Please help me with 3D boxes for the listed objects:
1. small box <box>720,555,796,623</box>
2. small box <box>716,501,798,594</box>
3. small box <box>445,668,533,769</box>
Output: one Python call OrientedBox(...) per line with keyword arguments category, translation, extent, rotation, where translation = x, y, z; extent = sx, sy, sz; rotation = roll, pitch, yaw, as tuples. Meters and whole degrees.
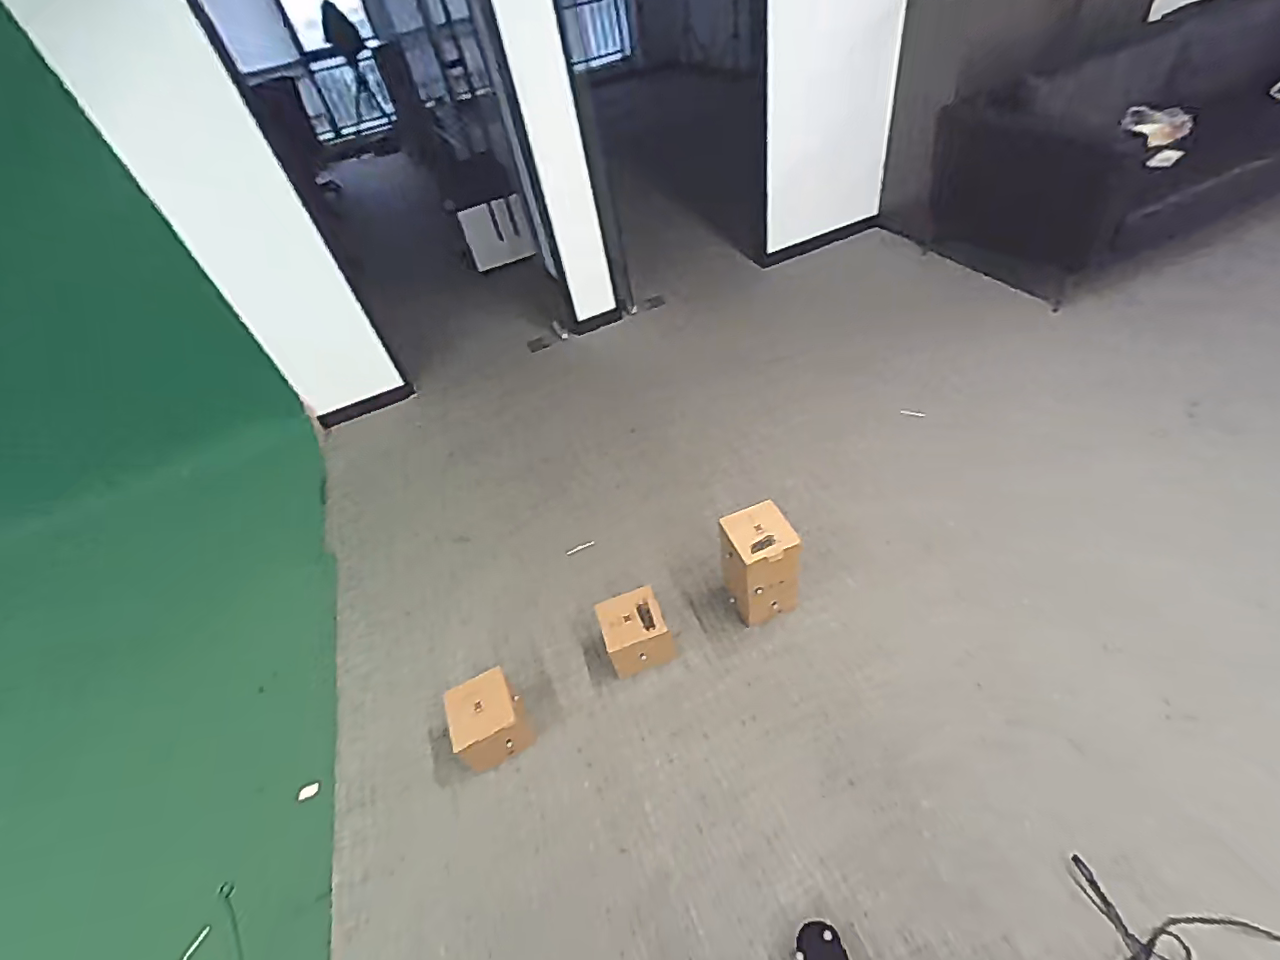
OrientedBox(category="small box", translation=(0.357, 0.309, 1.641), extent=(0.168, 0.176, 0.179), rotation=(-21, 45, -8))
OrientedBox(category="small box", translation=(0.330, 0.197, 1.522), extent=(0.168, 0.176, 0.179), rotation=(-20, 44, -7))
OrientedBox(category="small box", translation=(-0.408, 0.657, 1.474), extent=(0.168, 0.176, 0.179), rotation=(-23, 44, -12))
